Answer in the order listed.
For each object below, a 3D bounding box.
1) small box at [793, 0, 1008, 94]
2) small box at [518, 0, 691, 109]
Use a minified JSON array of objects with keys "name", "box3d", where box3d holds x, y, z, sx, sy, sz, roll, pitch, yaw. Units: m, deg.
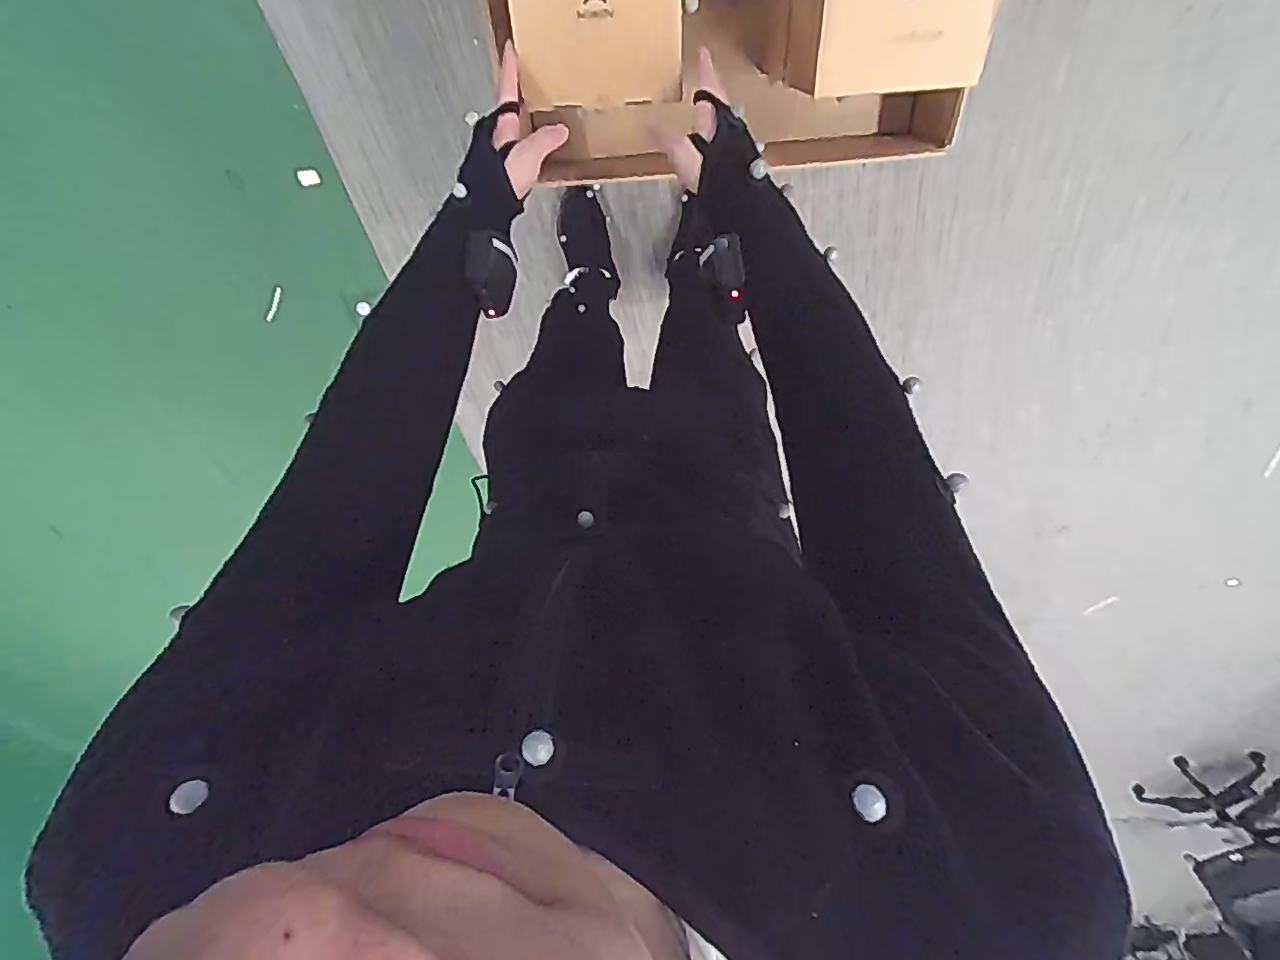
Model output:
[{"name":"small box","box3d":[0.260,-0.510,0.552,0.168,0.176,0.179,-1,130,4]},{"name":"small box","box3d":[-0.034,-0.505,0.568,0.168,0.176,0.179,-2,129,2]}]
